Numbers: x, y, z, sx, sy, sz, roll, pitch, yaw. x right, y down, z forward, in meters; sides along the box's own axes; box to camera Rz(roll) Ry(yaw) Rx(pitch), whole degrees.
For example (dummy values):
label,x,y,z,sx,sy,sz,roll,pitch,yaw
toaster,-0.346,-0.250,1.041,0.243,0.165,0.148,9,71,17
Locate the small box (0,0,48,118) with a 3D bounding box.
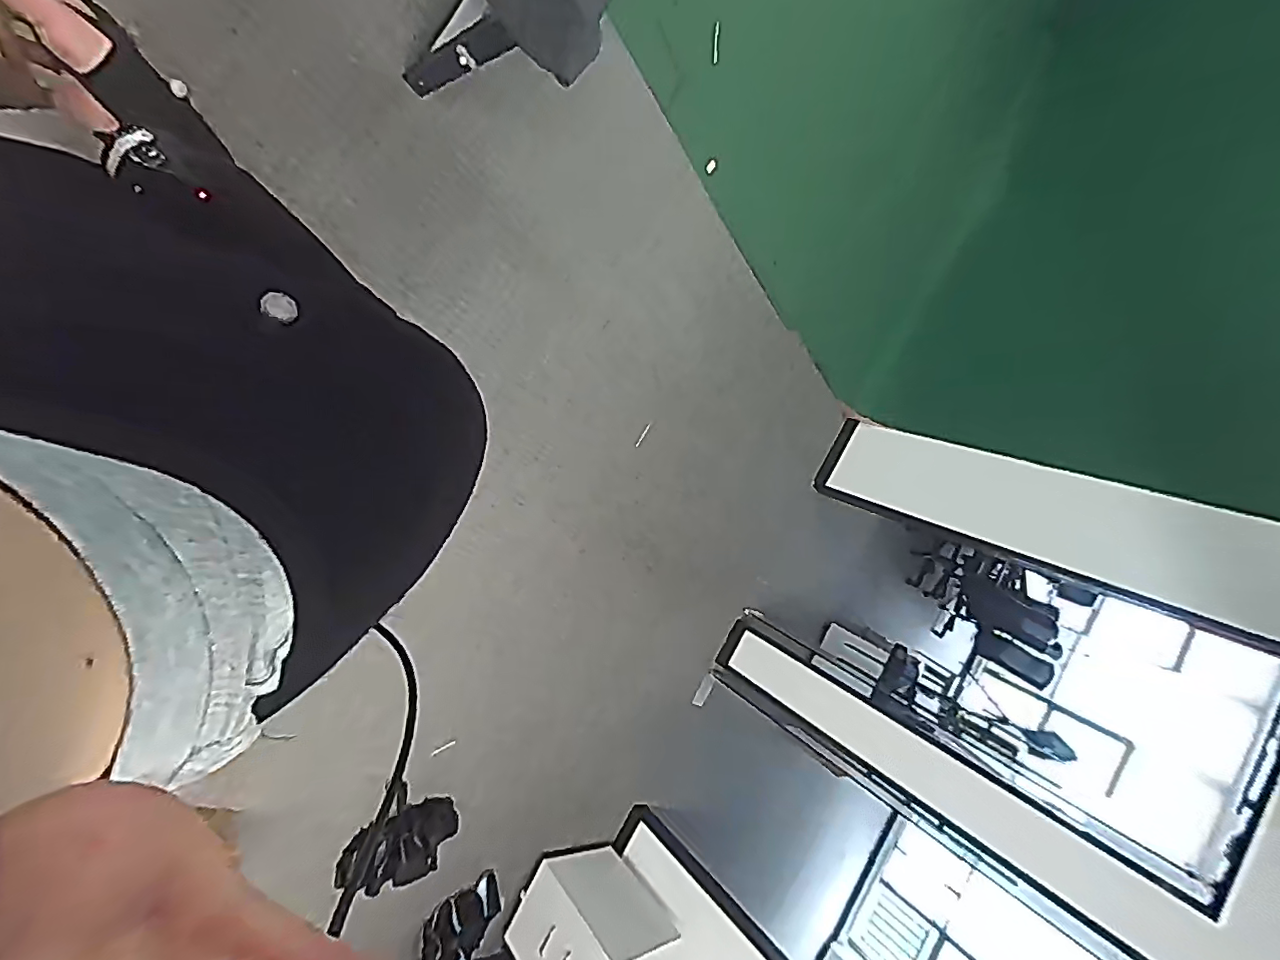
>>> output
label,x,y,z,sx,sy,sz,roll,pitch,yaw
small box,-0.537,-0.352,0.331,0.168,0.176,0.179,-21,113,-28
